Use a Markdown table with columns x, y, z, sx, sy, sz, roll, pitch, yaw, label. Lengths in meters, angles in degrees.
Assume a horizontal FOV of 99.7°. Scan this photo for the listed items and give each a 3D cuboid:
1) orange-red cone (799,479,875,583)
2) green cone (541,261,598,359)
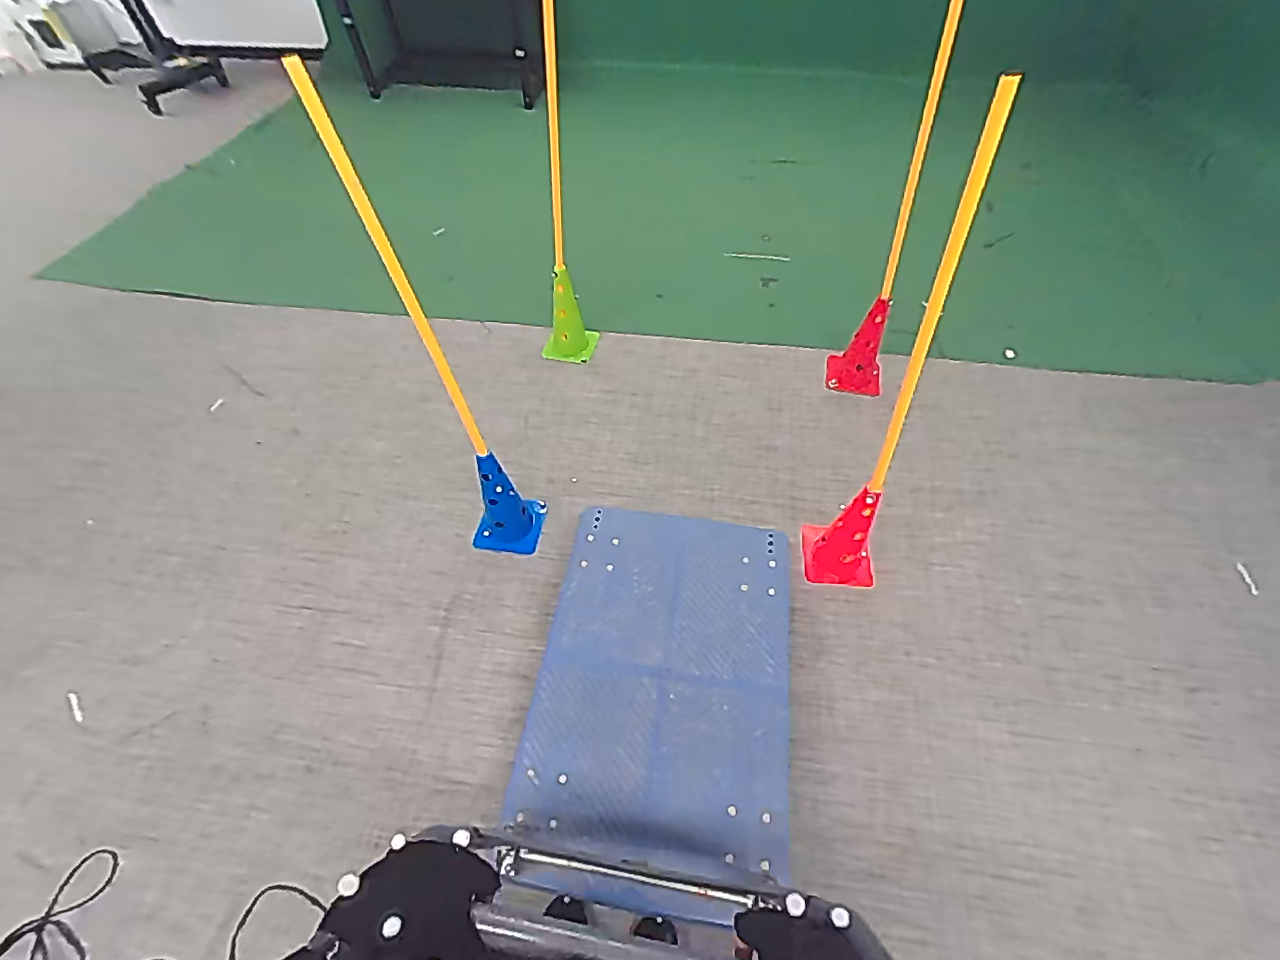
| x | y | z | sx | sy | sz | roll | pitch | yaw | label |
| --- | --- | --- | --- | --- | --- | --- | --- | --- | --- |
| 0.584 | 0.117 | 1.513 | 0.199 | 0.360 | 0.198 | 5 | 53 | 6 | orange-red cone |
| -0.293 | -0.676 | 2.099 | 0.202 | 0.368 | 0.200 | 9 | 54 | 8 | green cone |
